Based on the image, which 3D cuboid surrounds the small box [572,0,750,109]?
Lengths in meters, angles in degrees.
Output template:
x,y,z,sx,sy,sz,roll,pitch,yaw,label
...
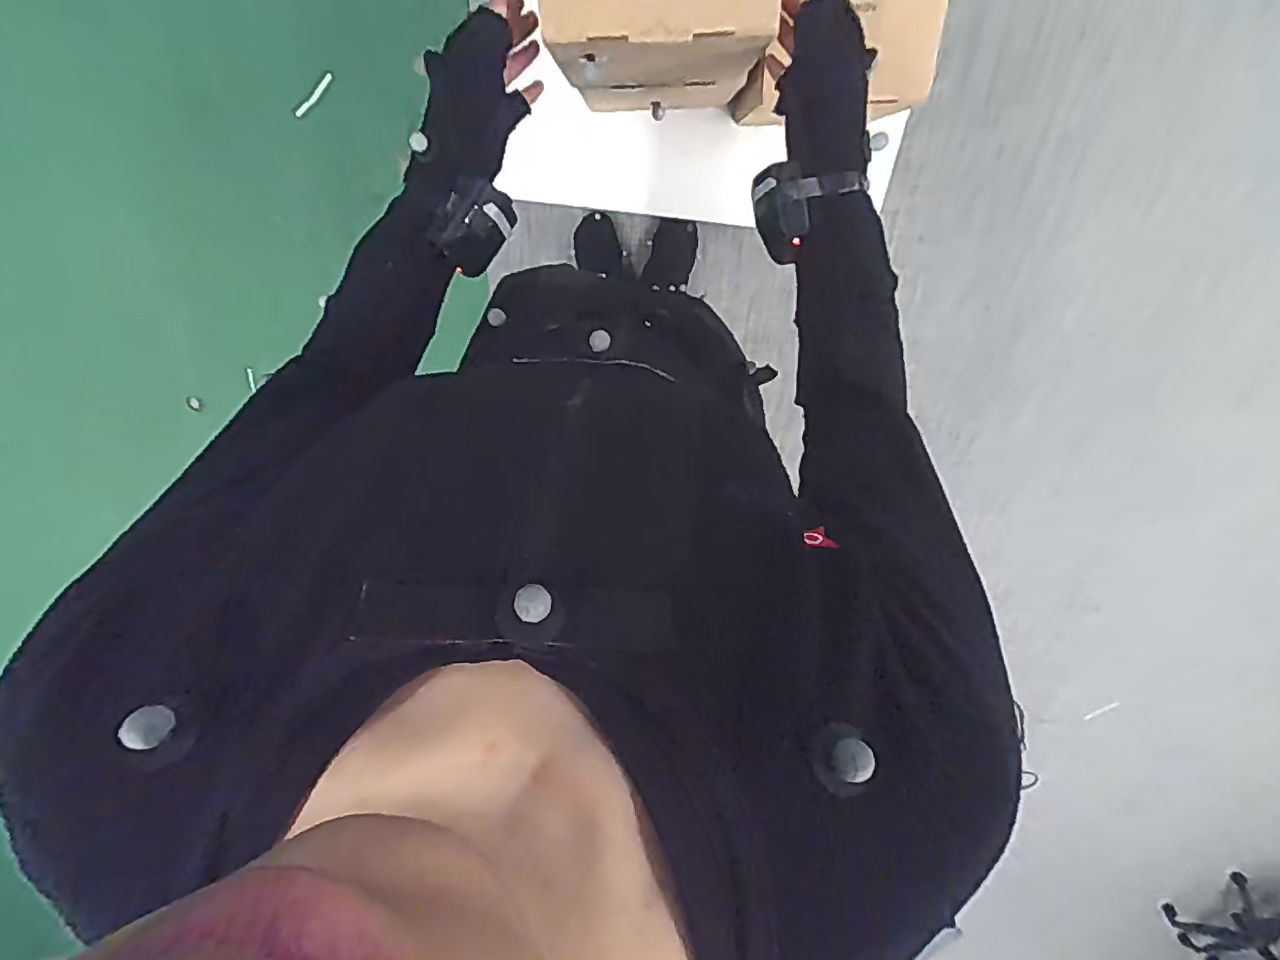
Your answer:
x,y,z,sx,sy,sz,roll,pitch,yaw,label
0.018,-0.496,0.548,0.168,0.176,0.179,-1,118,2,small box
